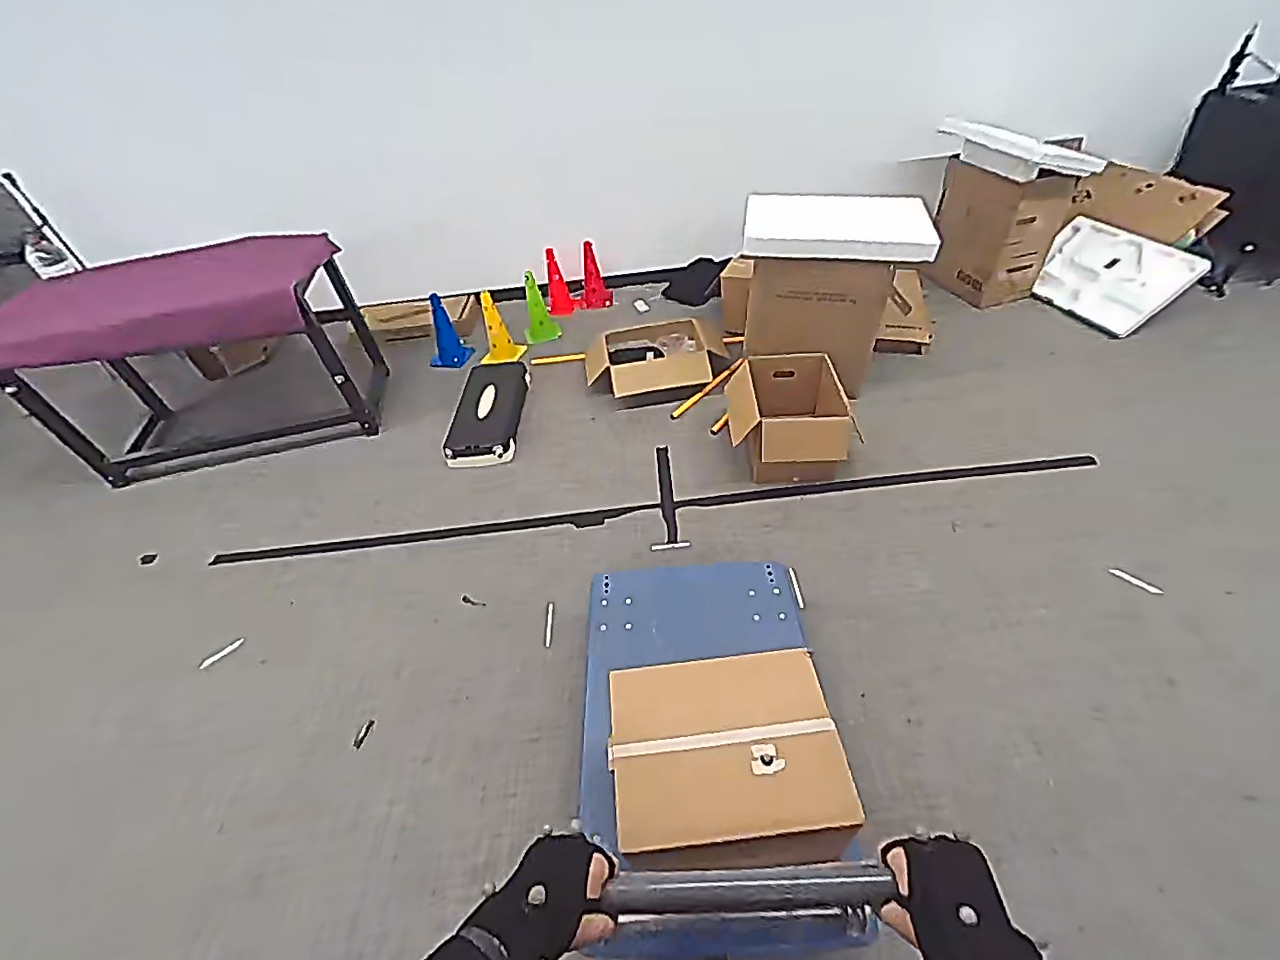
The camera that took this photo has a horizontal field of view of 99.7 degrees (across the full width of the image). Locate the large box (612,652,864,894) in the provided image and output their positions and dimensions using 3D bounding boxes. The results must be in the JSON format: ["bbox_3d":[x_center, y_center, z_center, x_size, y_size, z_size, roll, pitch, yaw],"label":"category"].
[{"bbox_3d":[0.165,0.586,1.084,0.408,0.320,0.320,-7,44,-2],"label":"large box"}]
